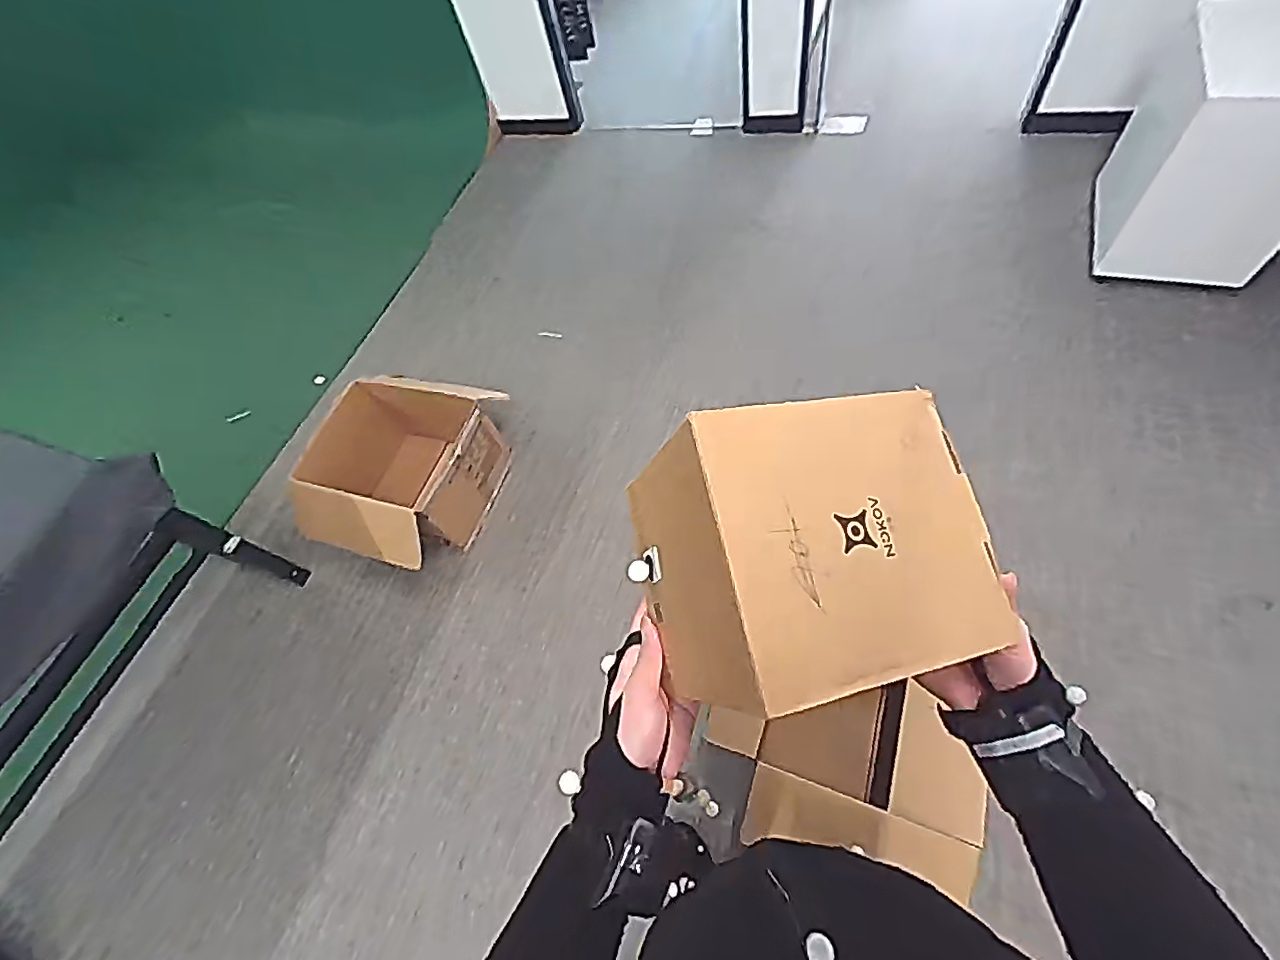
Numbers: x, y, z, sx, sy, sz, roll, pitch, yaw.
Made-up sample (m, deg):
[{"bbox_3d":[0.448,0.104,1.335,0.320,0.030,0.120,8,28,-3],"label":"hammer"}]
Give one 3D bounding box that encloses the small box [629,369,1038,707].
[{"bbox_3d":[0.107,0.041,0.370,0.179,0.176,0.168,-9,76,-17],"label":"small box"}]
